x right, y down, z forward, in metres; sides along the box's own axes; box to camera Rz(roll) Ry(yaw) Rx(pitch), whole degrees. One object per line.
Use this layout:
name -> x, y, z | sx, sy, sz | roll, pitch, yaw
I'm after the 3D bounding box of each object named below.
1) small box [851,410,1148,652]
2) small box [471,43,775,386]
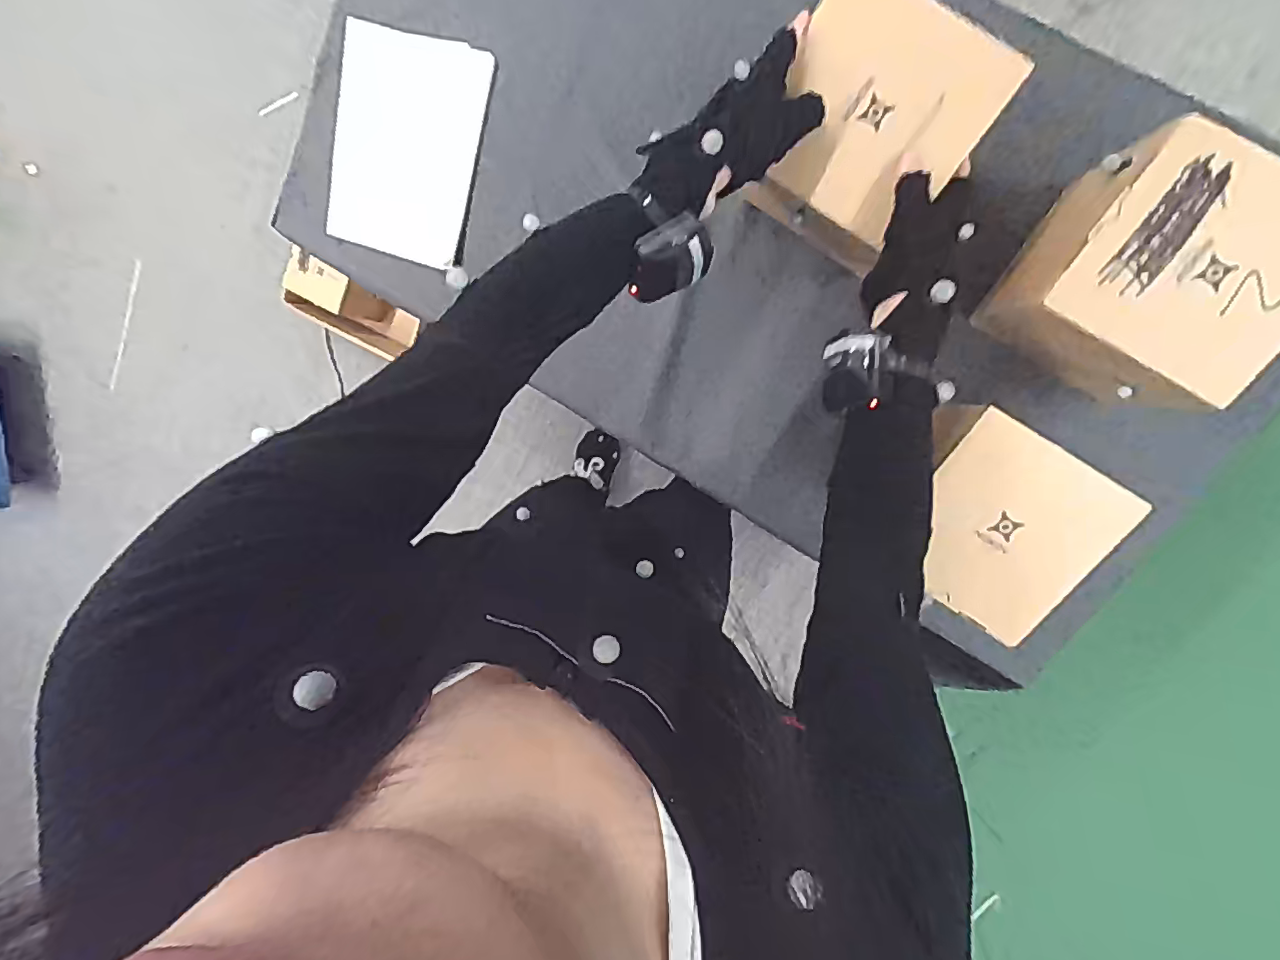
small box -> 0.351, 0.037, 0.577 | 0.168, 0.176, 0.179 | 34, 105, 5
small box -> -0.017, -0.223, 0.460 | 0.176, 0.179, 0.168 | 31, 144, -5
